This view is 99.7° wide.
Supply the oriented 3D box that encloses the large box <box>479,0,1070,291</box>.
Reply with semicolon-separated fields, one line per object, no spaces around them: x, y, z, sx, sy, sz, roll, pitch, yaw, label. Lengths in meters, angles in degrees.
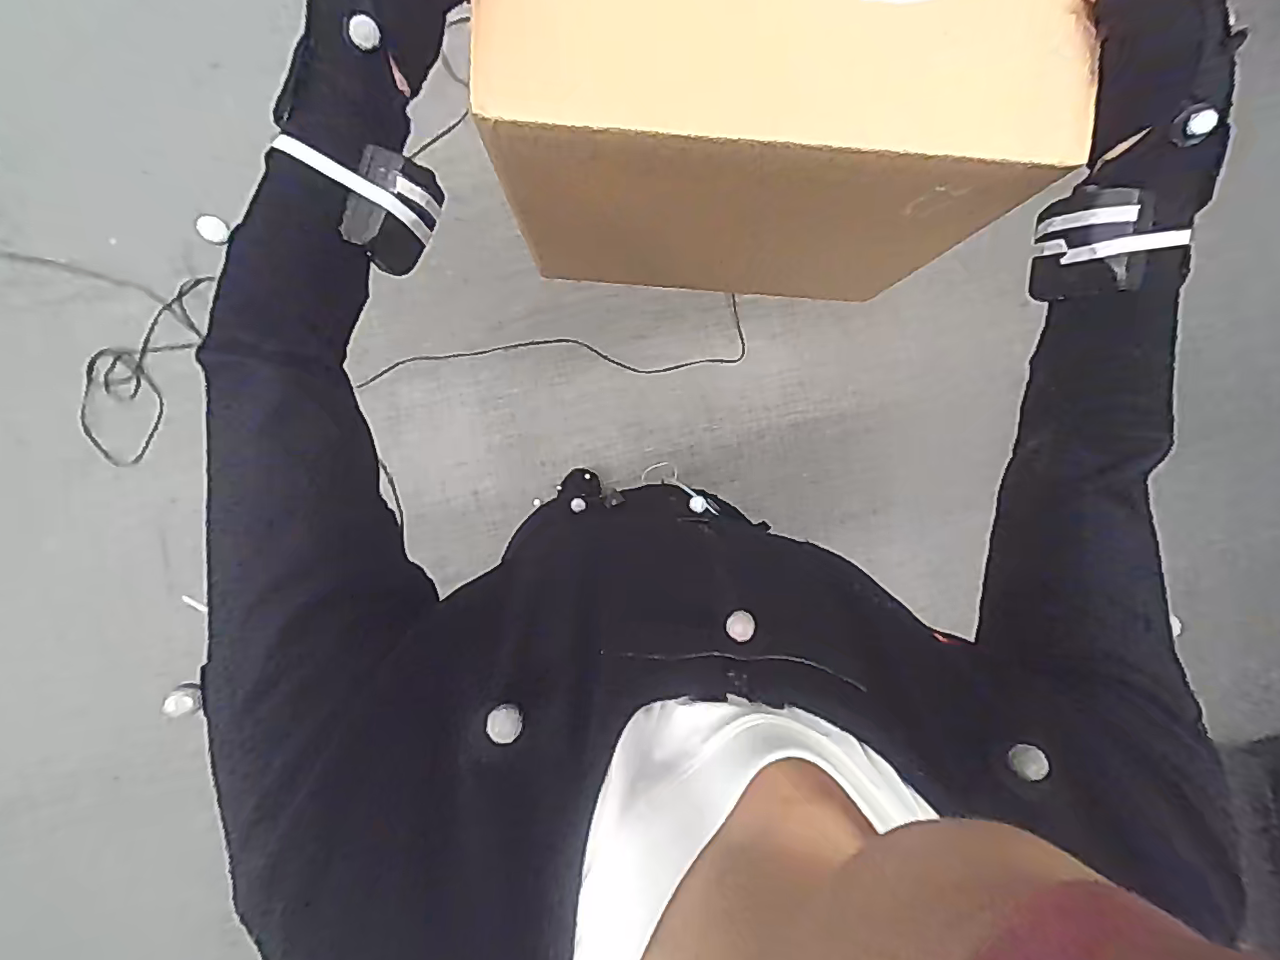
0.086;-0.384;0.505;0.408;0.320;0.320;2;92;-4;large box
